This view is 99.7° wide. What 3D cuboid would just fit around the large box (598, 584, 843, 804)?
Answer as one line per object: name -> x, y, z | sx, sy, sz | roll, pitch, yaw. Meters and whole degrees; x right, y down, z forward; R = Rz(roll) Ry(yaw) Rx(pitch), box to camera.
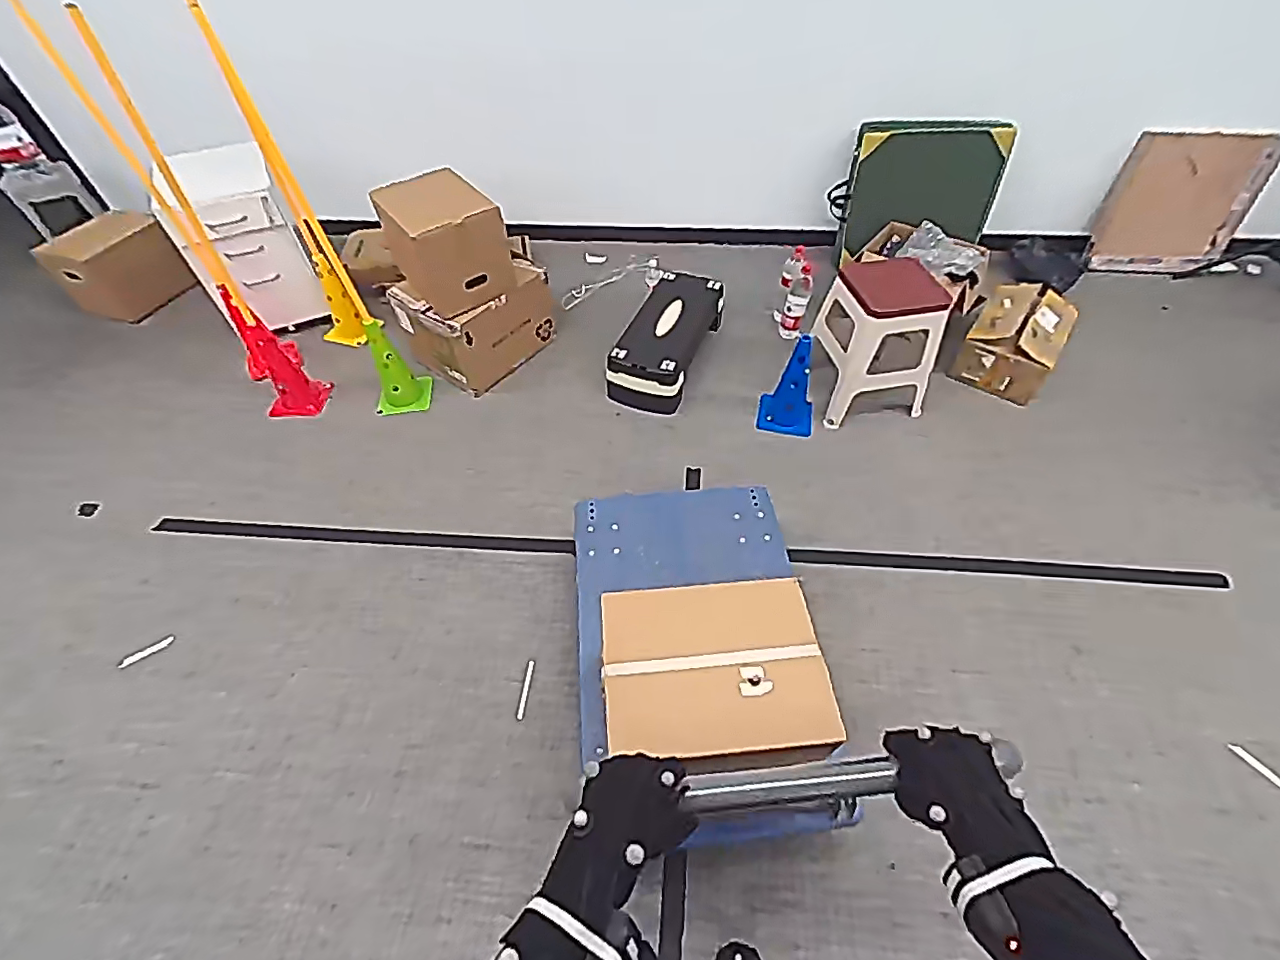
large box -> 0.130, 0.440, 1.104 | 0.408, 0.320, 0.320 | -4, 52, -3
